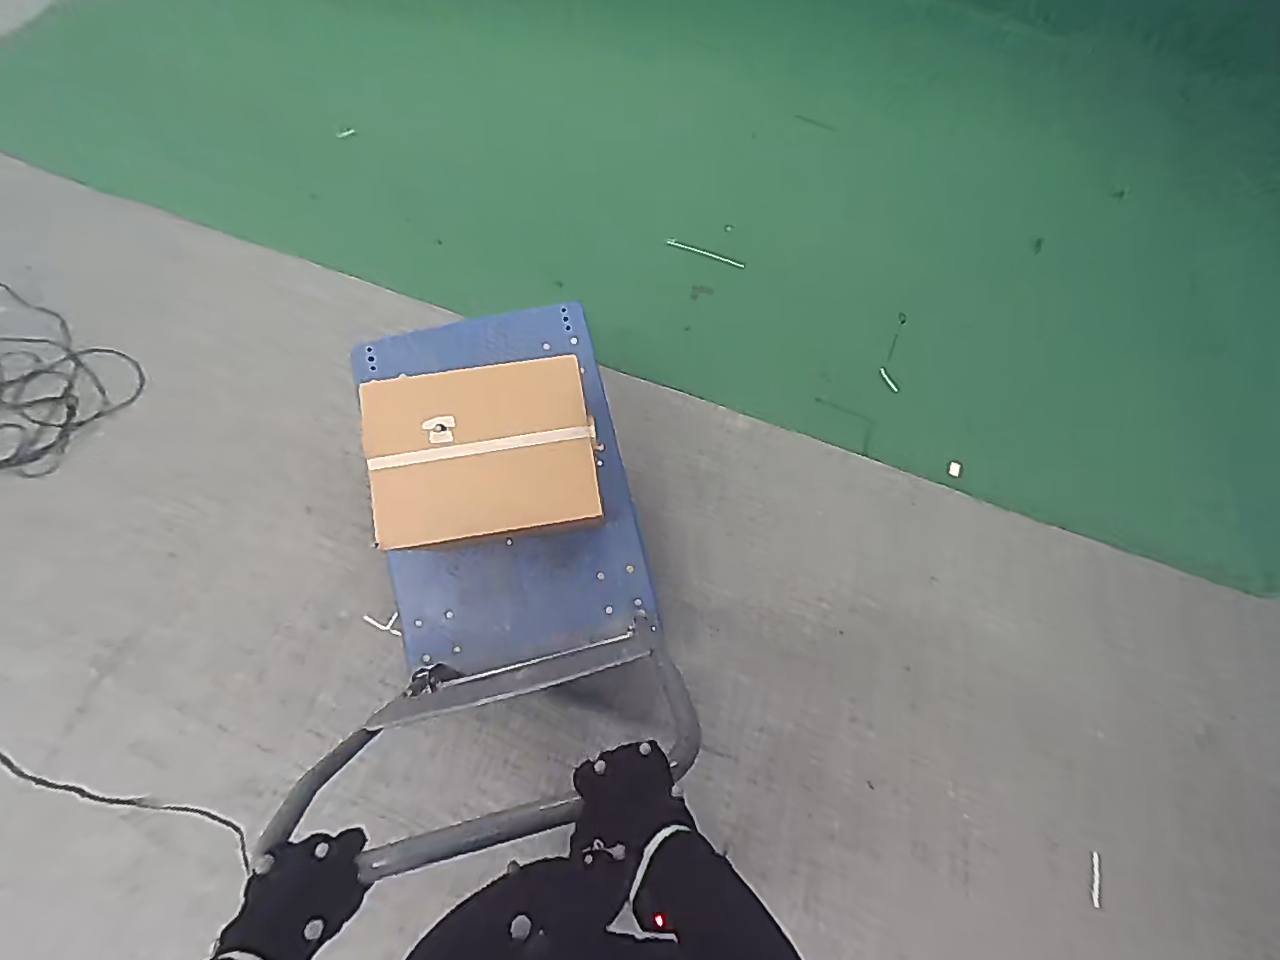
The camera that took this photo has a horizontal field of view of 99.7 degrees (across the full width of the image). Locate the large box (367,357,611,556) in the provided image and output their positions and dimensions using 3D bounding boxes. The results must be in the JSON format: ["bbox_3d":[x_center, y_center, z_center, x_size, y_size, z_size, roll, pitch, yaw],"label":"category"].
[{"bbox_3d":[-0.286,-0.031,1.138,0.408,0.320,0.320,-10,82,-3],"label":"large box"}]
